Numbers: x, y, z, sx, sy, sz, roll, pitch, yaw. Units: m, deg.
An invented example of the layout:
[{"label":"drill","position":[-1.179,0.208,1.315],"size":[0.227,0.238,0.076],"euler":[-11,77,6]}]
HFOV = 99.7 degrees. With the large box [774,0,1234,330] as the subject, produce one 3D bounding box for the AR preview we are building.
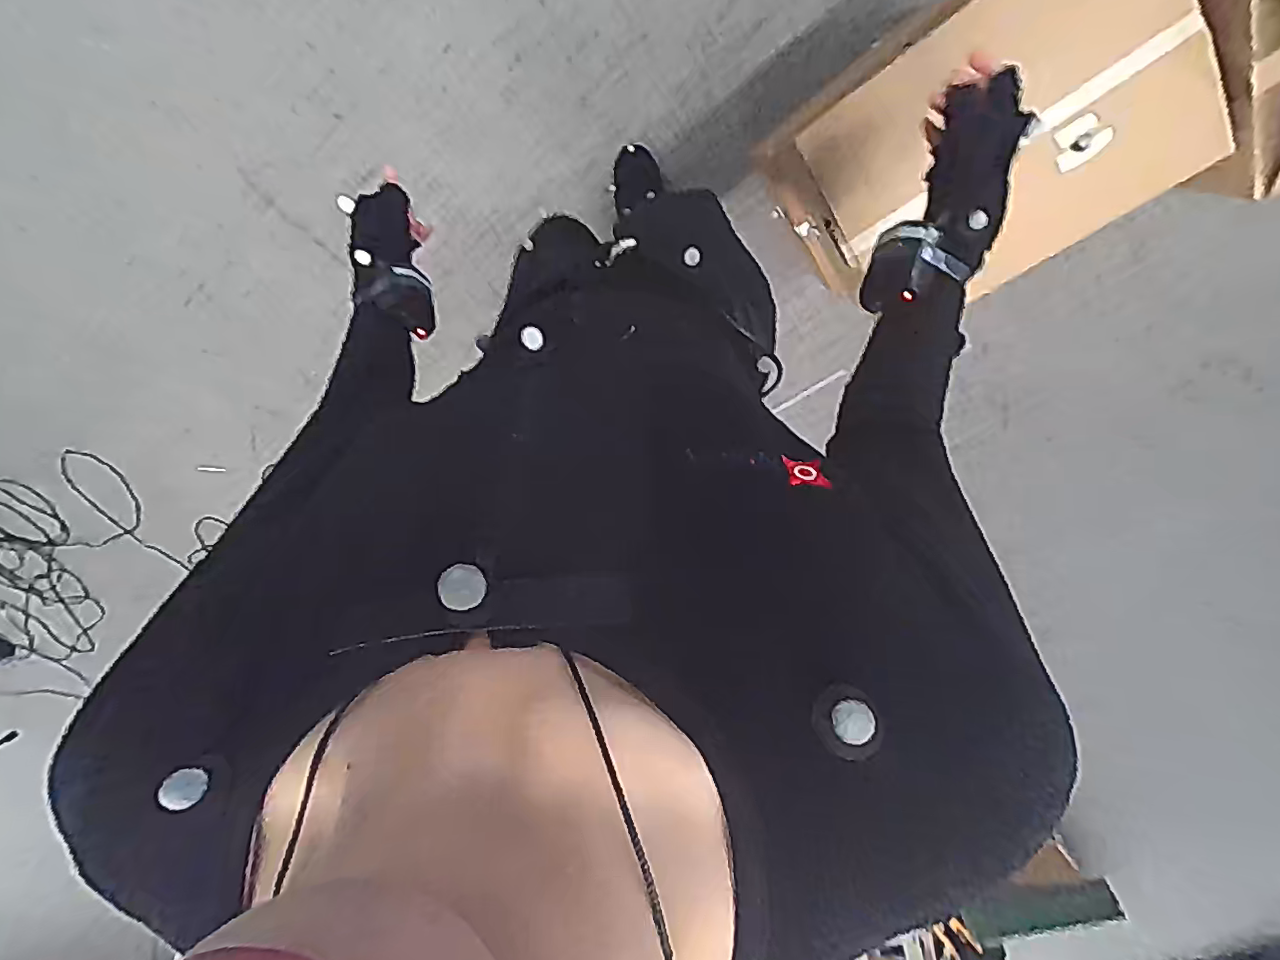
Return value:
[{"label":"large box","position":[0.454,-0.483,0.776],"size":[0.408,0.320,0.320],"euler":[-31,110,21]}]
